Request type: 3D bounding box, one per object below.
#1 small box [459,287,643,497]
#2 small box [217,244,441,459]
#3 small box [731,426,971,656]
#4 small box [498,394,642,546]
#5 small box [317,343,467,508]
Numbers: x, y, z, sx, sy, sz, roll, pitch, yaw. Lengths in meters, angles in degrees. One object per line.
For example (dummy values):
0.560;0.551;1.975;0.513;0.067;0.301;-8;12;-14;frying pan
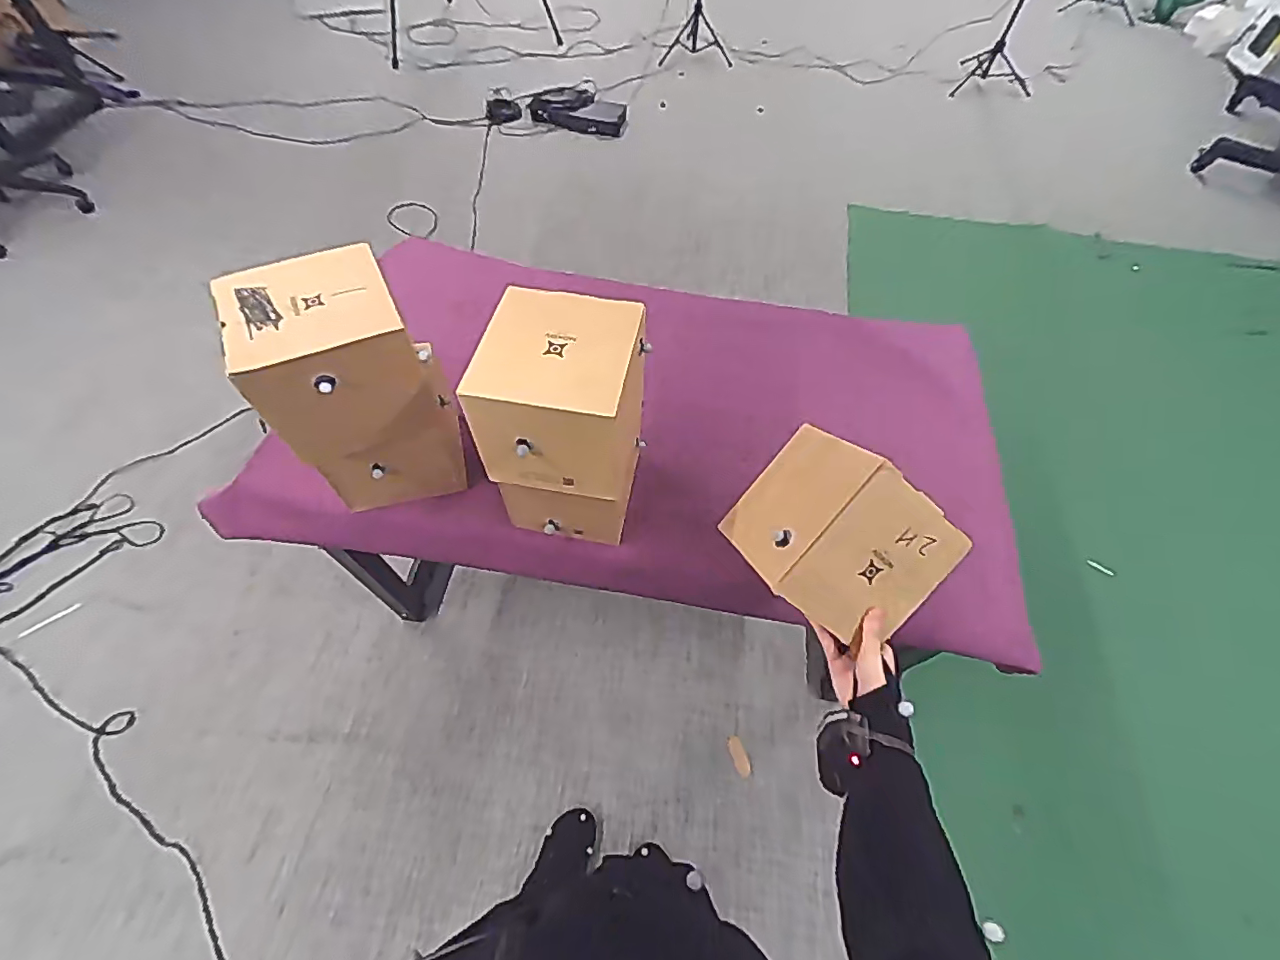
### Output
-0.091;-0.100;0.650;0.168;0.176;0.179;9;56;4;small box
-0.369;-0.152;0.663;0.179;0.176;0.168;-22;61;-17;small box
0.231;0.063;0.641;0.168;0.176;0.179;37;97;-23;small box
-0.096;-0.027;0.796;0.168;0.176;0.179;10;57;4;small box
-0.372;-0.076;0.811;0.179;0.176;0.168;-12;59;-10;small box
